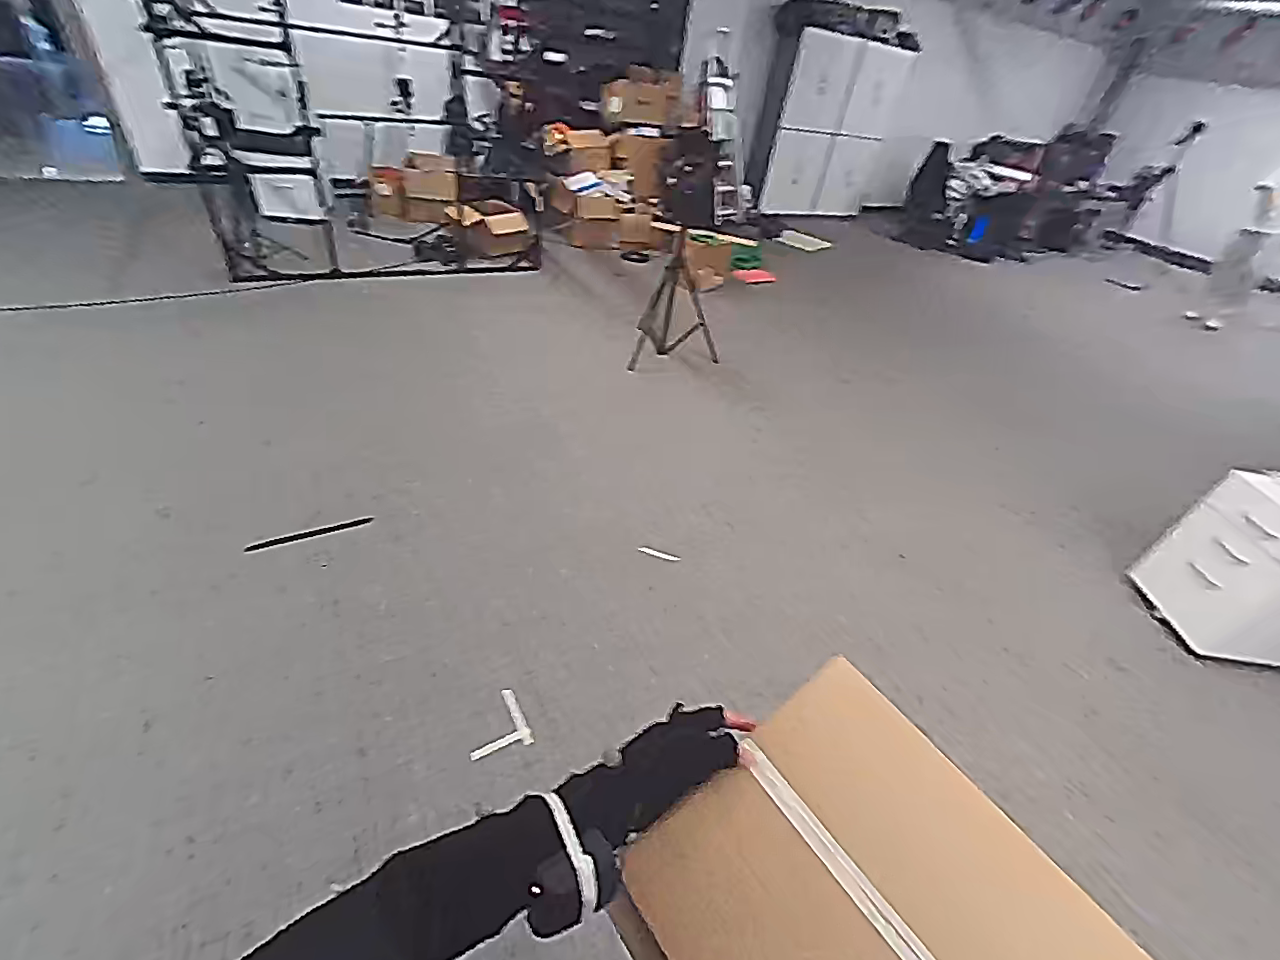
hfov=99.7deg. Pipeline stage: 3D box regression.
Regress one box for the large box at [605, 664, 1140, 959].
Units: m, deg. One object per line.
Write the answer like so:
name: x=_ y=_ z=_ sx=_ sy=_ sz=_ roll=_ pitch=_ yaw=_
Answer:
large box: x=0.206 y=0.484 z=0.548 sx=0.320 sy=0.320 sz=0.408 roll=-28 pitch=57 yaw=-27
